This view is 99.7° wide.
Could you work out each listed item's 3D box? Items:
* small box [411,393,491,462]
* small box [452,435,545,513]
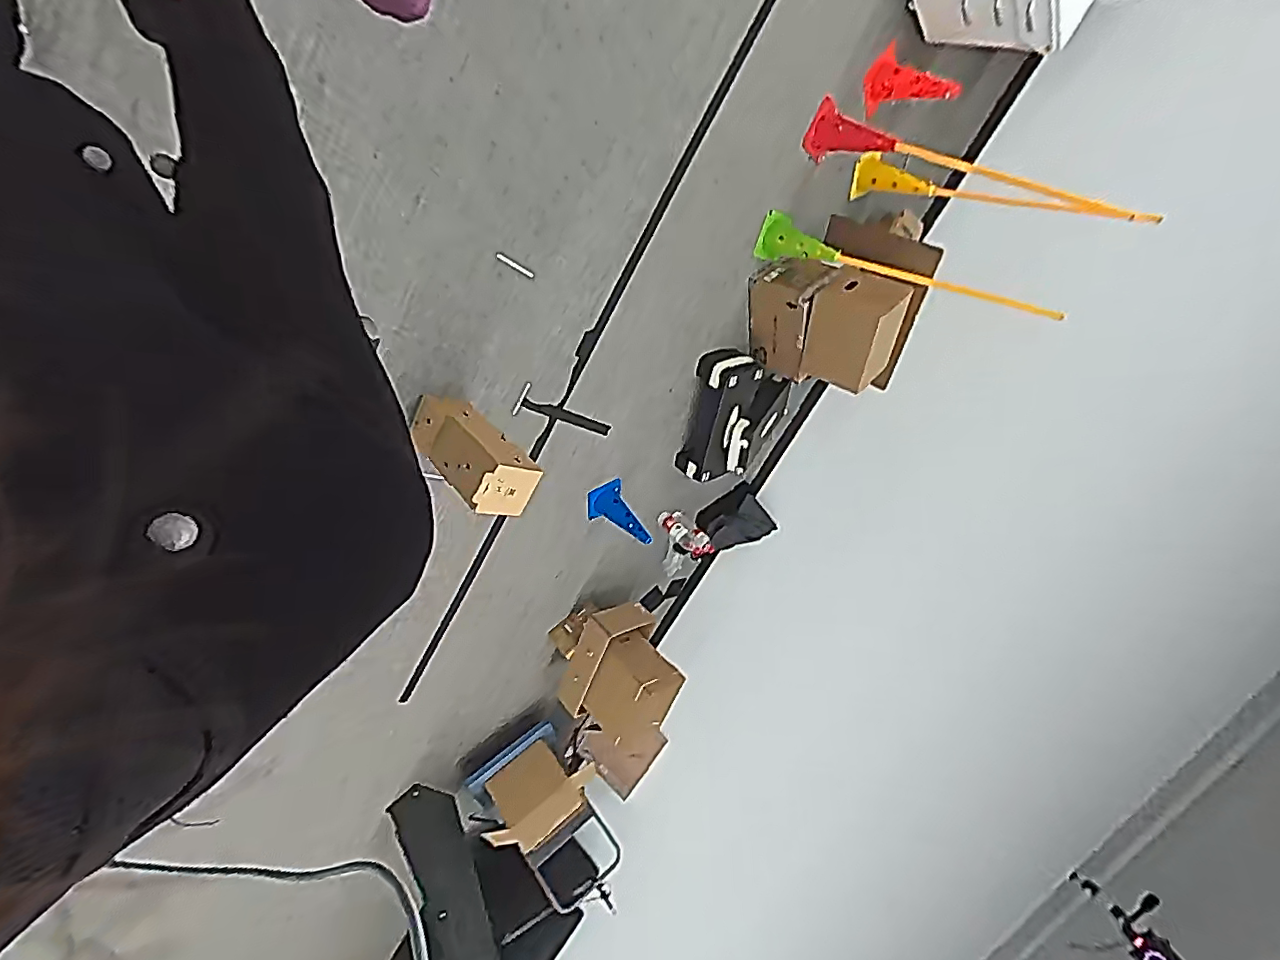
[{"bbox_3d":[-0.639,-0.175,1.813,0.179,0.176,0.168,6,117,-51],"label":"small box"},{"bbox_3d":[-0.424,-0.018,1.616,0.179,0.176,0.168,12,114,-52],"label":"small box"}]
